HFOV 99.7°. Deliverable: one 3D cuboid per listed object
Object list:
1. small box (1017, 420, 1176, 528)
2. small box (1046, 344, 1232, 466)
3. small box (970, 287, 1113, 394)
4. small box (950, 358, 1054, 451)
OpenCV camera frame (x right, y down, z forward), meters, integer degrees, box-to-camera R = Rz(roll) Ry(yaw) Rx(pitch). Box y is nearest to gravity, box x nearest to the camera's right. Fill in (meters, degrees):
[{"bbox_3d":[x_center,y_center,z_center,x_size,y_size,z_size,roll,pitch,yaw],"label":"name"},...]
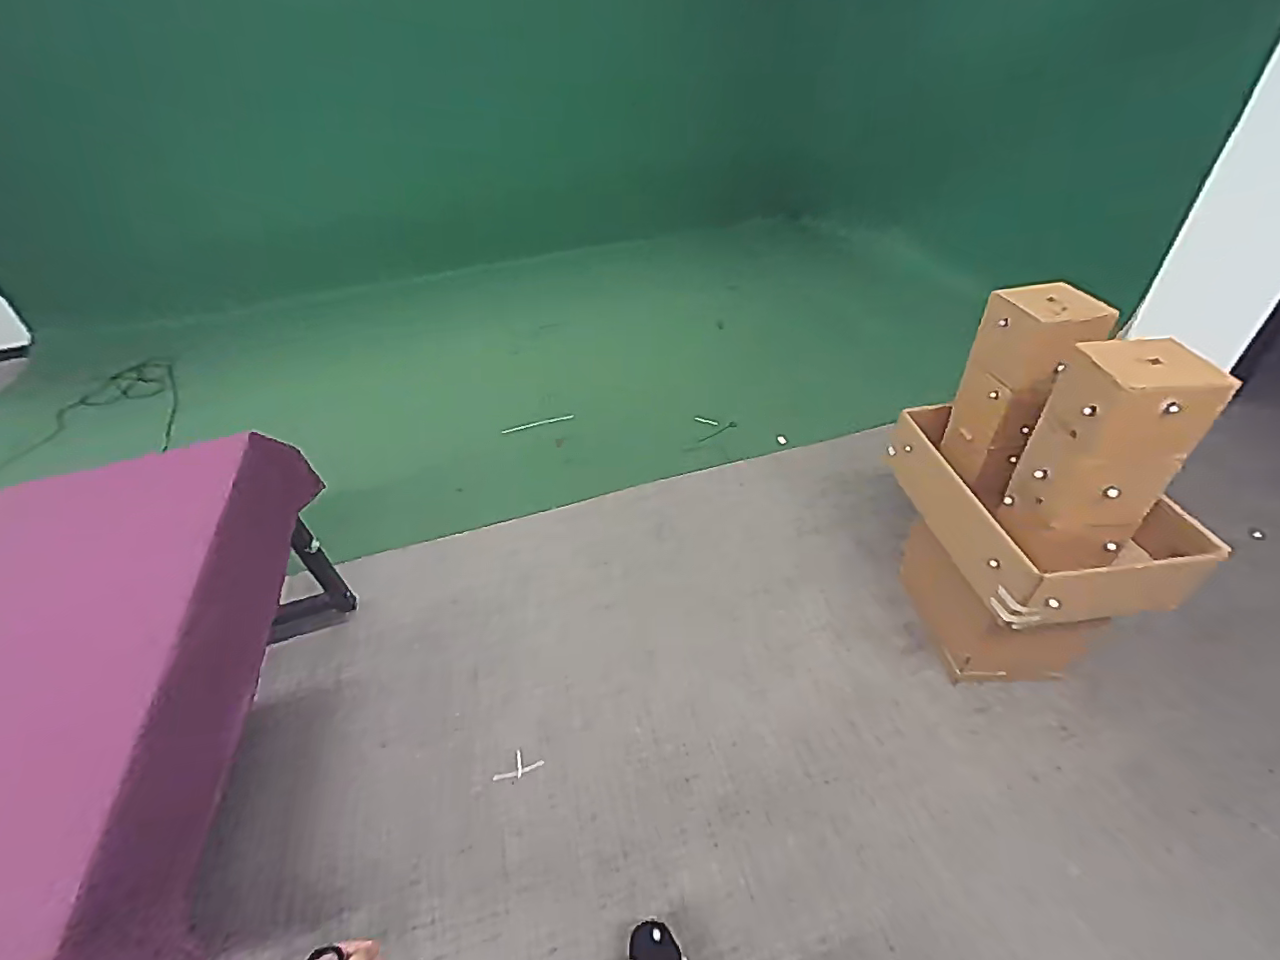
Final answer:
[{"bbox_3d":[0.920,-0.014,1.119,0.179,0.176,0.168,-3,41,4],"label":"small box"},{"bbox_3d":[0.908,-0.138,1.014,0.179,0.176,0.168,-1,41,4],"label":"small box"},{"bbox_3d":[0.892,-0.317,1.226,0.168,0.176,0.179,-8,42,-2],"label":"small box"},{"bbox_3d":[0.907,-0.195,1.336,0.168,0.176,0.179,-7,42,-2],"label":"small box"}]
